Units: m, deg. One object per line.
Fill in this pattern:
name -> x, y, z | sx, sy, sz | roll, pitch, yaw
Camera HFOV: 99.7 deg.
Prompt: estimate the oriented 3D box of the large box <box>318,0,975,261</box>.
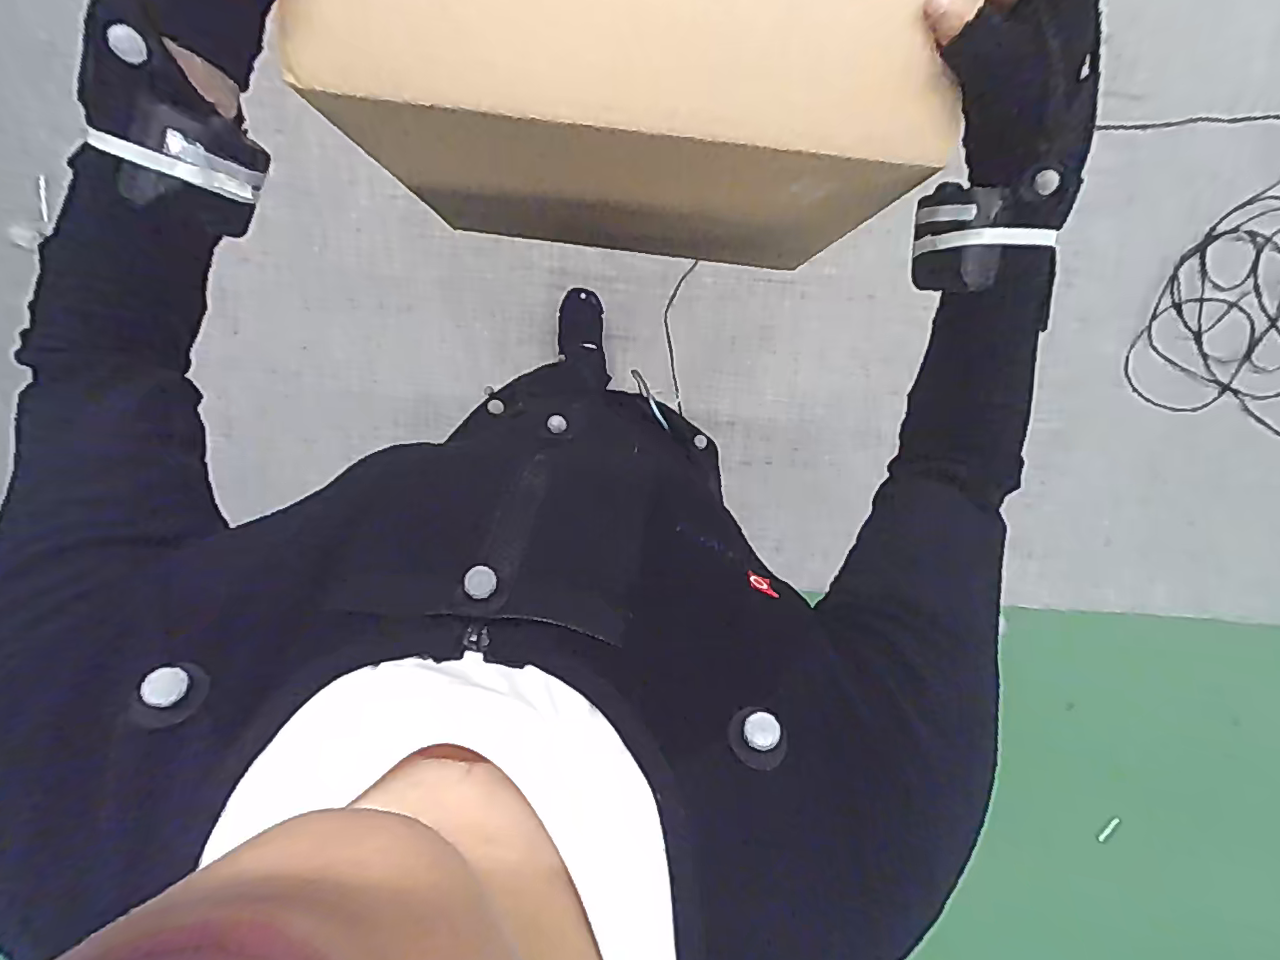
large box -> 0.009, -0.398, 0.460 | 0.408, 0.320, 0.320 | 5, 100, -4
